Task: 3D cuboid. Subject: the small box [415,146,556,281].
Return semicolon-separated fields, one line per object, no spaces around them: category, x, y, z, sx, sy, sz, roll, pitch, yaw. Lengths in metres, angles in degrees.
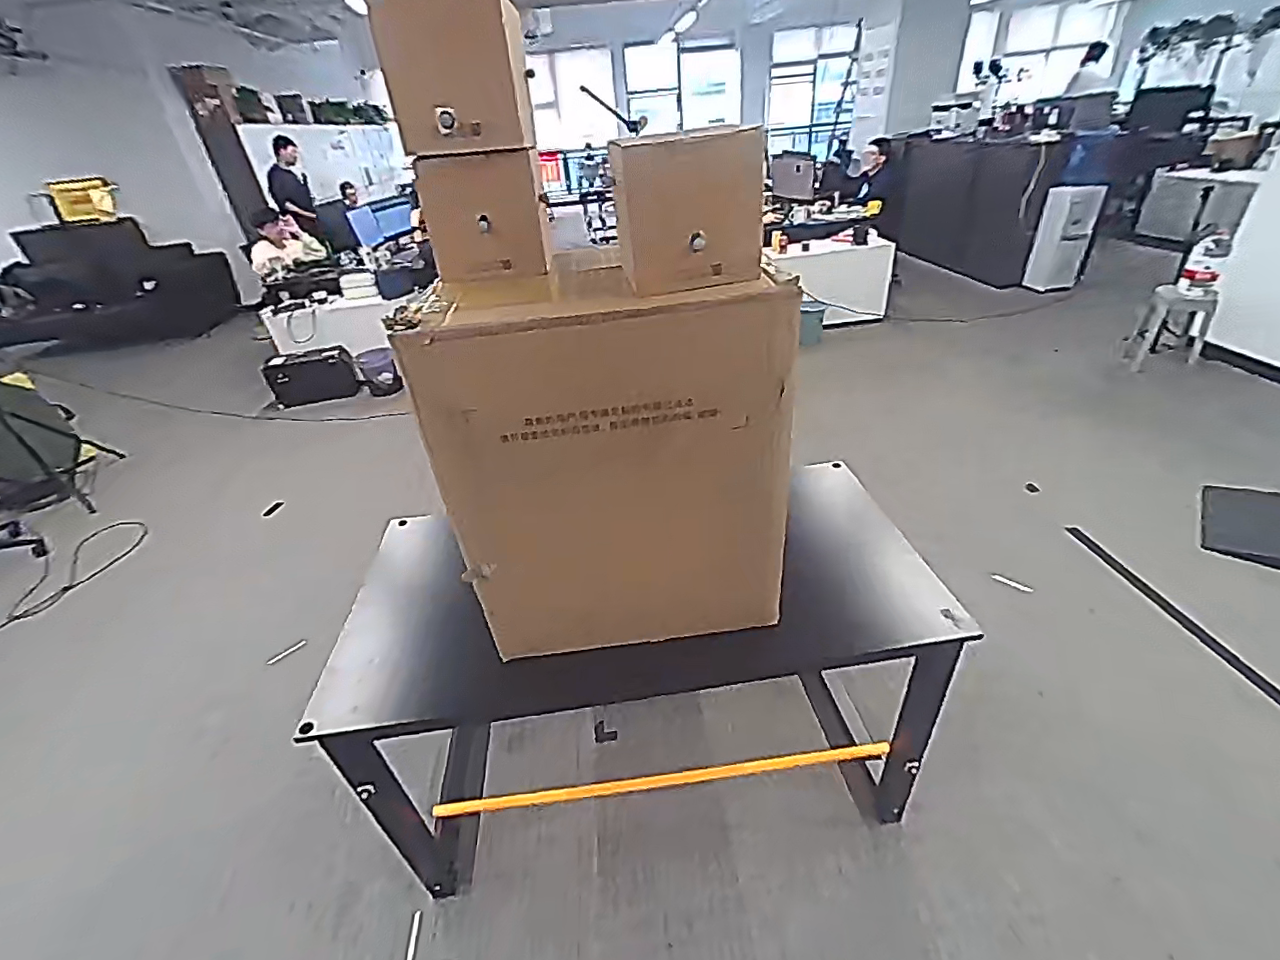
small box;-0.227;-0.417;0.849;0.168;0.176;0.179;-6;34;-2

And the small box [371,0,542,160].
small box;-0.235;-0.546;0.747;0.168;0.176;0.179;-6;33;0

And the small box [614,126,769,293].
small box;0.062;-0.359;0.716;0.168;0.176;0.179;-10;35;-3
